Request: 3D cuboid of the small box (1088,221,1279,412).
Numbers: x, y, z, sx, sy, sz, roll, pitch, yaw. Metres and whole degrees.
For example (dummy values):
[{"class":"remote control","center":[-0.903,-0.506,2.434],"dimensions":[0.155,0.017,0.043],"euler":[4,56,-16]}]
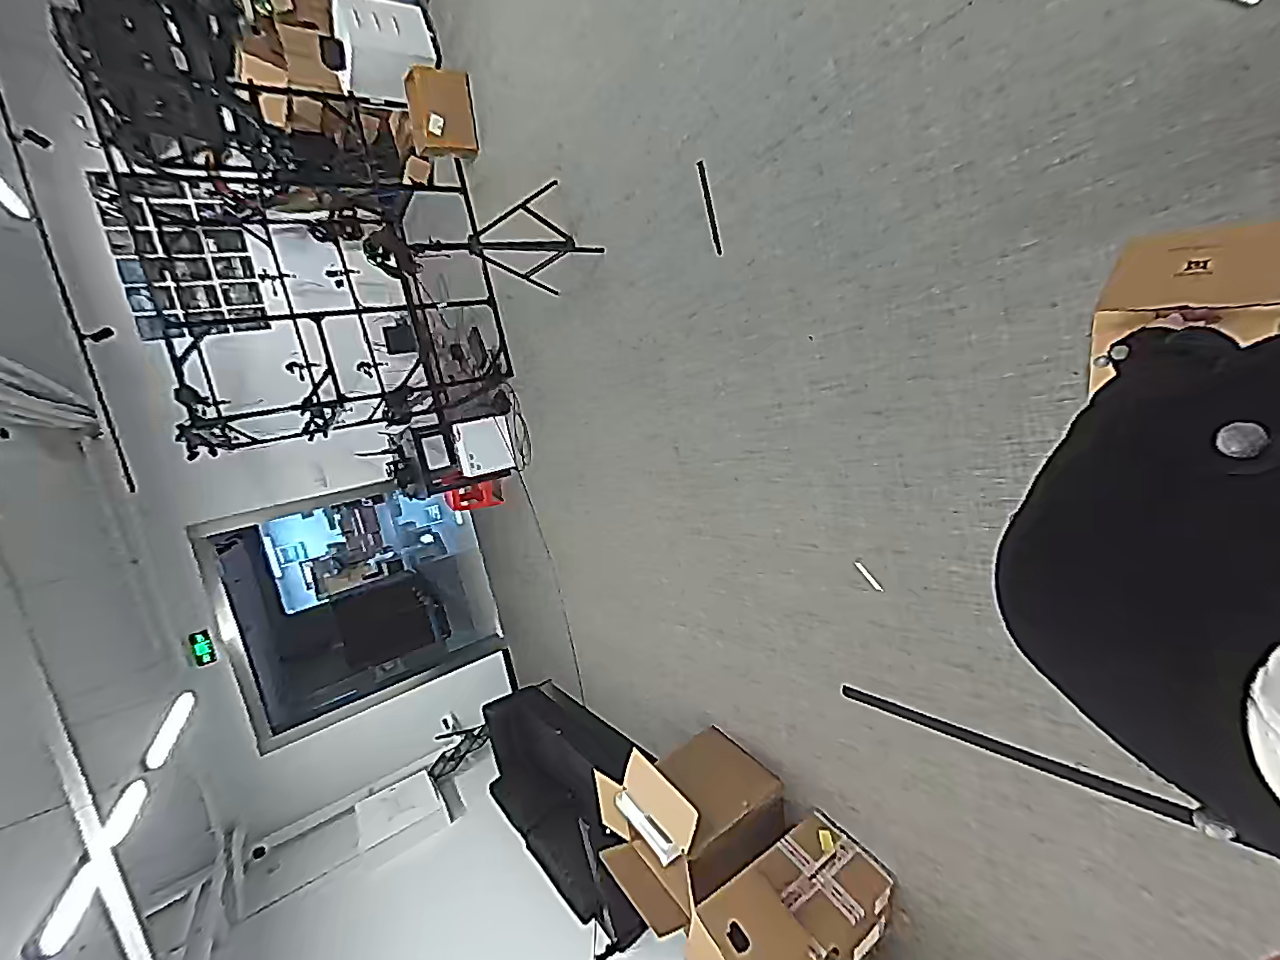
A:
[{"class":"small box","center":[0.725,-0.211,0.723],"dimensions":[0.168,0.179,0.176],"euler":[15,148,45]}]
